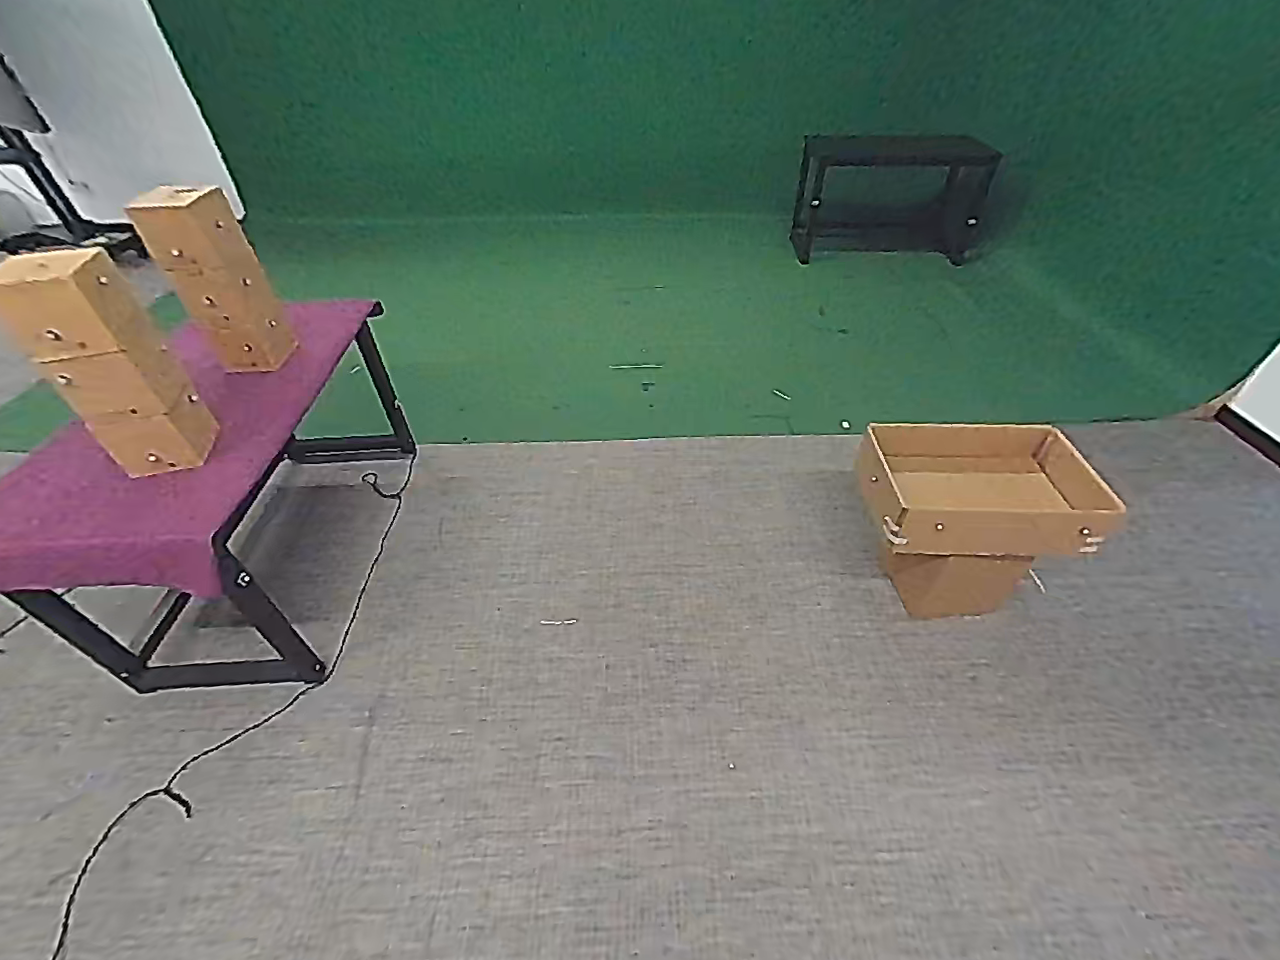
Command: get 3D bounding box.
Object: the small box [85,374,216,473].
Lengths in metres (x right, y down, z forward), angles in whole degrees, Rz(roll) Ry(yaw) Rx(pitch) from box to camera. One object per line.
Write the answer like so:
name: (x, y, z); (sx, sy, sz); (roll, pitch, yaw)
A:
small box: (-1.227, -0.144, 1.376); (0.168, 0.176, 0.179); (-12, 45, -11)

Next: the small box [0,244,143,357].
small box: (-1.222, -0.384, 1.154); (0.168, 0.176, 0.179); (-12, 45, -13)

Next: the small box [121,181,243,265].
small box: (-1.246, -0.710, 1.492); (0.168, 0.176, 0.179); (-2, 45, -2)

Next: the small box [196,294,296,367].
small box: (-1.240, -0.473, 1.720); (0.168, 0.176, 0.179); (-1, 44, 0)

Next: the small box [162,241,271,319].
small box: (-1.243, -0.590, 1.606); (0.168, 0.176, 0.179); (-1, 45, -2)
